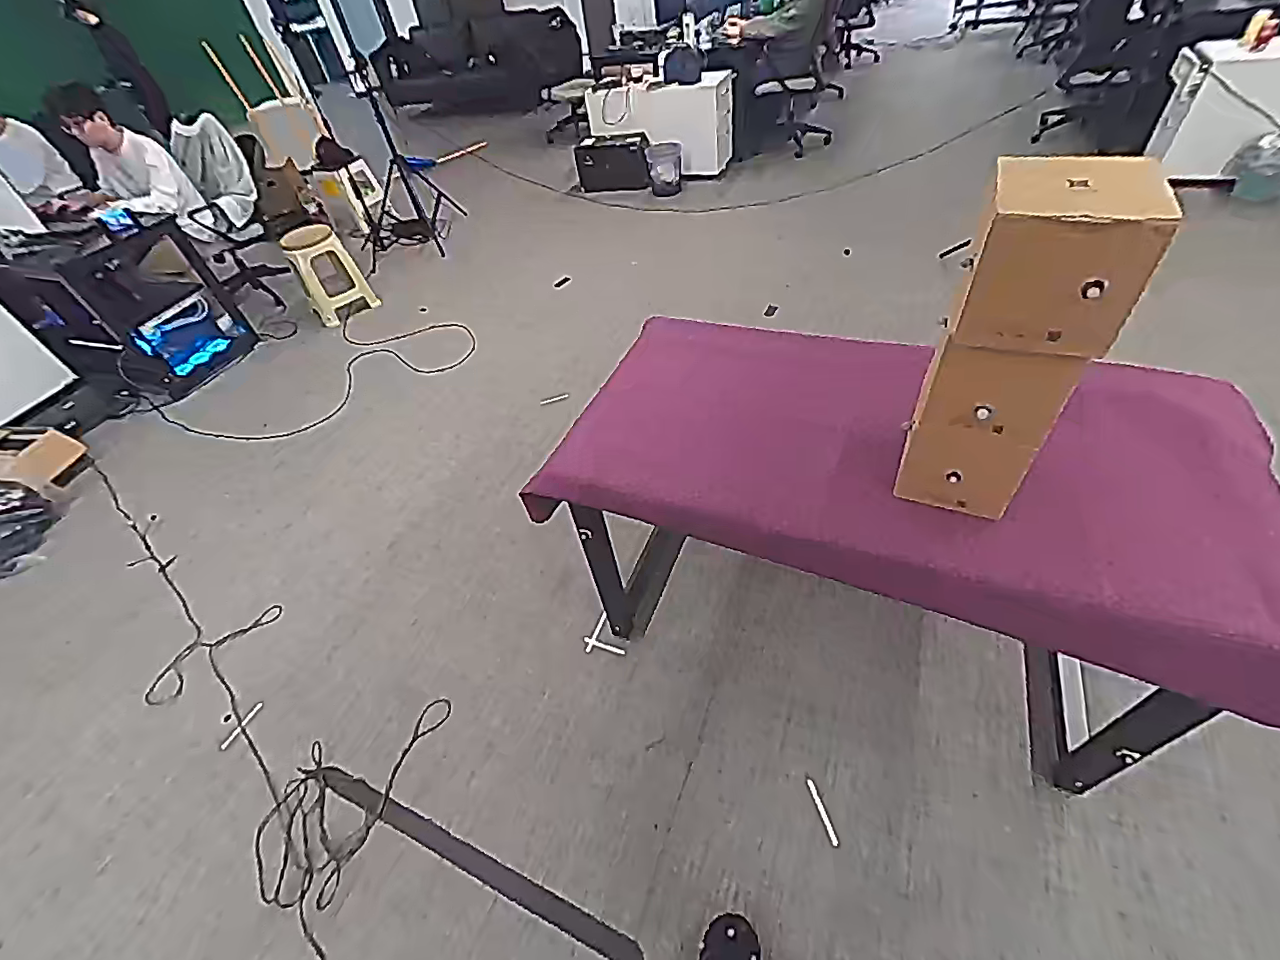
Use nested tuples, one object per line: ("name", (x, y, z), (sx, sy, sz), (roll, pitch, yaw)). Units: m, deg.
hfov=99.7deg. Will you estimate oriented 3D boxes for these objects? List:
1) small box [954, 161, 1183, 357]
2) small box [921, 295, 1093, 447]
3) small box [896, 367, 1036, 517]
("small box", (0.504, -0.272, 0.667), (0.168, 0.176, 0.179), (13, 50, 20))
("small box", (0.531, -0.177, 0.798), (0.168, 0.176, 0.179), (15, 52, 23))
("small box", (0.547, -0.064, 0.915), (0.168, 0.176, 0.179), (16, 51, 22))
